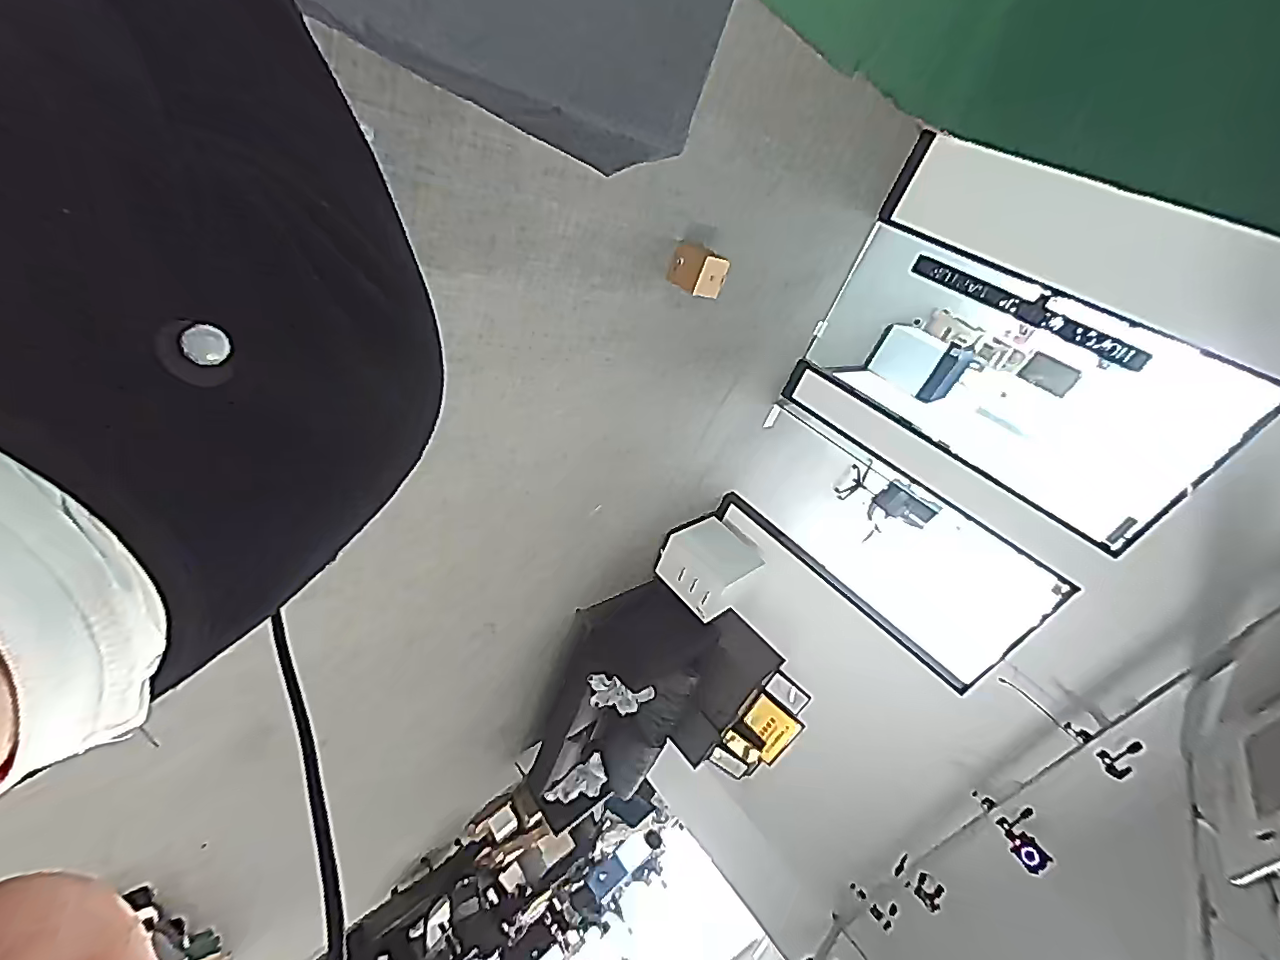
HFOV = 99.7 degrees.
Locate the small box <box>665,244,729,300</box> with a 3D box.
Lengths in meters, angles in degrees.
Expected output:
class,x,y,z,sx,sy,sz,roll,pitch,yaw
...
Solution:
class,x,y,z,sx,sy,sz,roll,pitch,yaw
small box,0.241,-0.884,2.300,0.179,0.176,0.168,-11,133,-48
